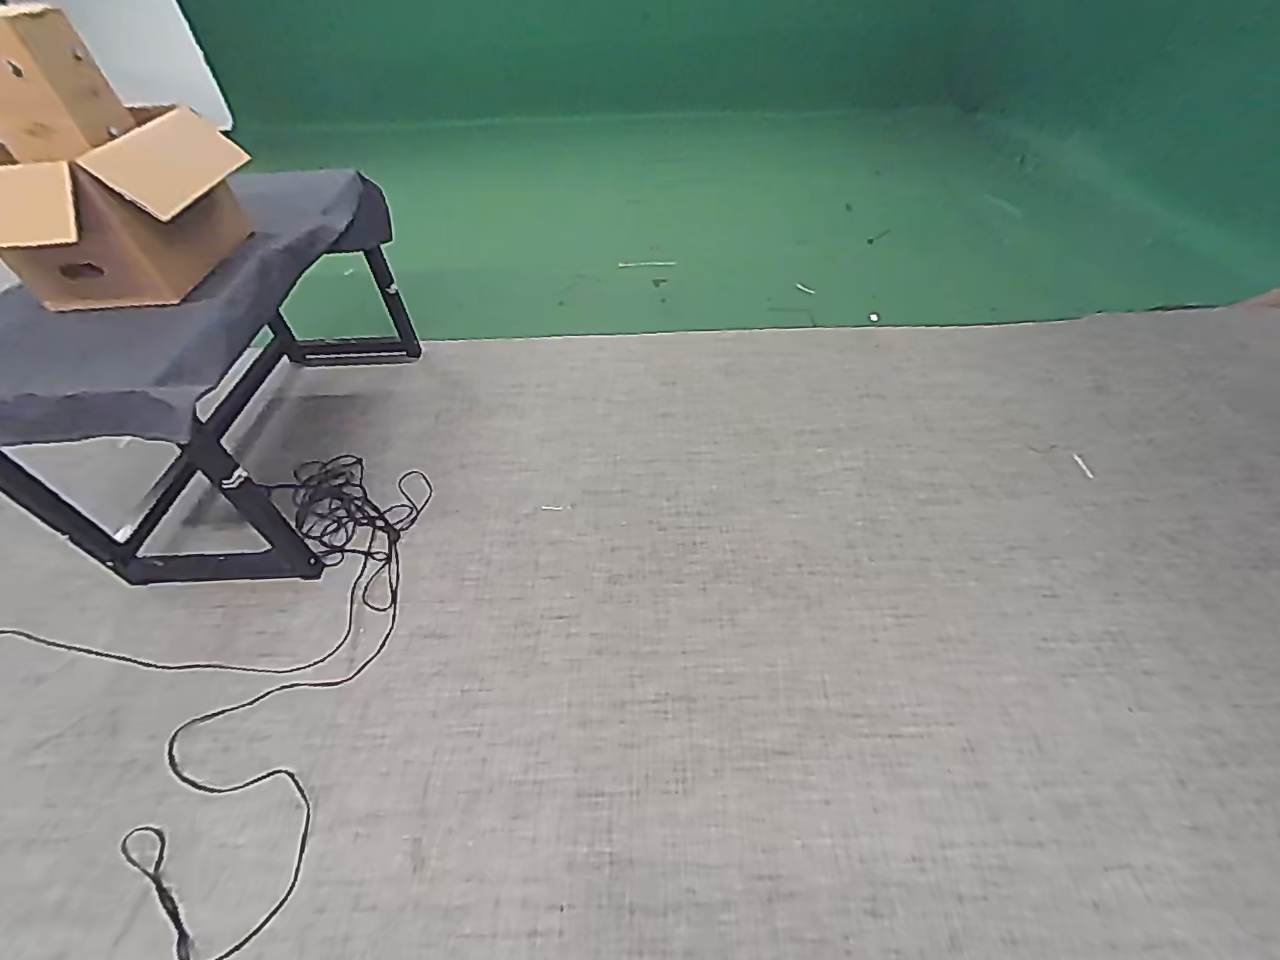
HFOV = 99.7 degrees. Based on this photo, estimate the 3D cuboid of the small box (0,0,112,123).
[{"bbox_3d":[-1.246,-0.841,1.090,0.179,0.176,0.168,-6,47,-2],"label":"small box"}]
